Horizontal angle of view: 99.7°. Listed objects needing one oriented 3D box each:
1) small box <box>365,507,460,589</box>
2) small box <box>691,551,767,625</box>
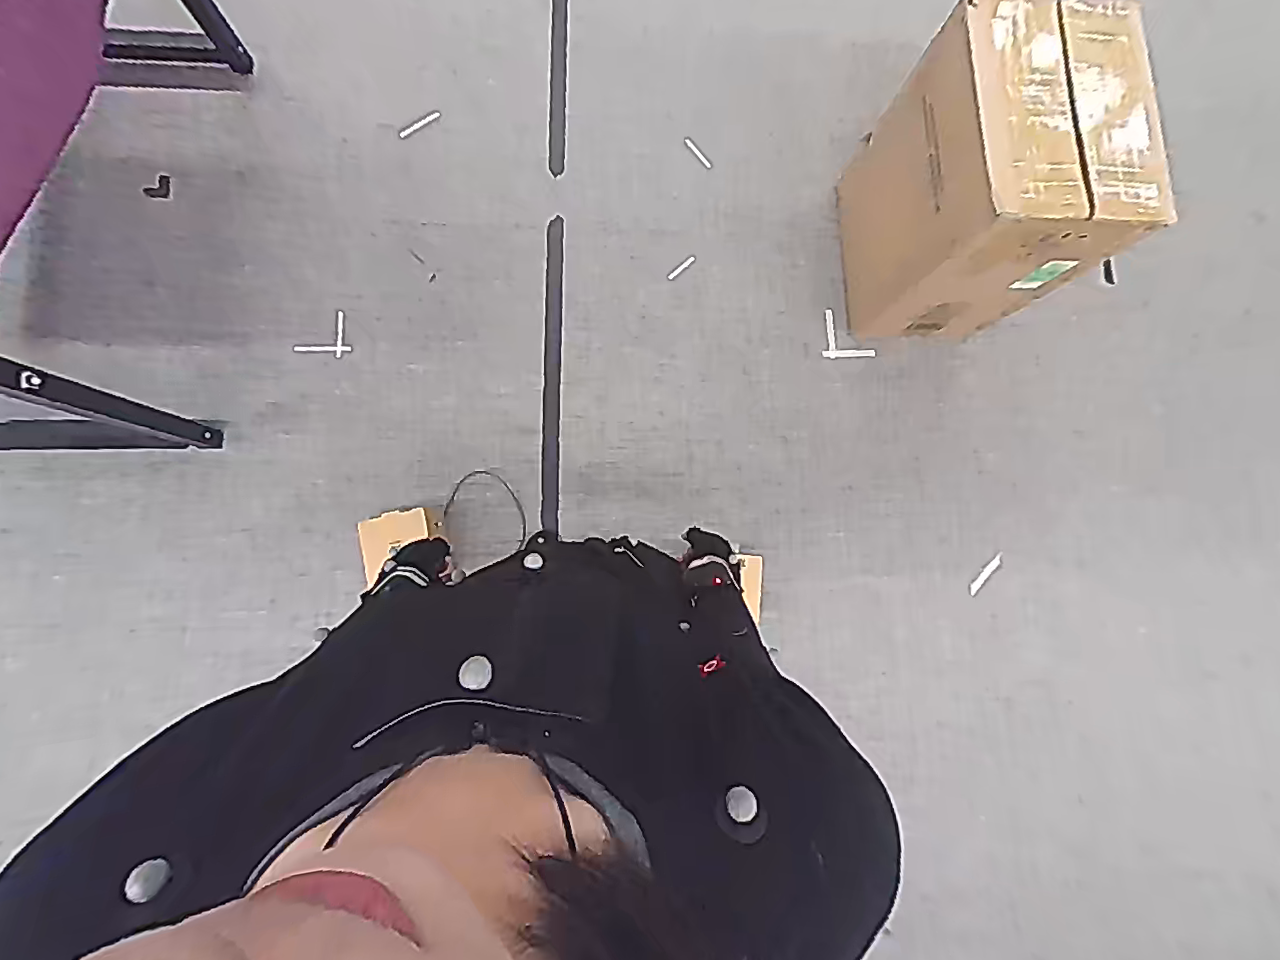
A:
[{"bbox_3d":[-0.587,0.177,1.408,0.168,0.176,0.179,-13,84,-4],"label":"small box"},{"bbox_3d":[0.235,0.288,1.468,0.168,0.176,0.179,6,82,-4],"label":"small box"}]
